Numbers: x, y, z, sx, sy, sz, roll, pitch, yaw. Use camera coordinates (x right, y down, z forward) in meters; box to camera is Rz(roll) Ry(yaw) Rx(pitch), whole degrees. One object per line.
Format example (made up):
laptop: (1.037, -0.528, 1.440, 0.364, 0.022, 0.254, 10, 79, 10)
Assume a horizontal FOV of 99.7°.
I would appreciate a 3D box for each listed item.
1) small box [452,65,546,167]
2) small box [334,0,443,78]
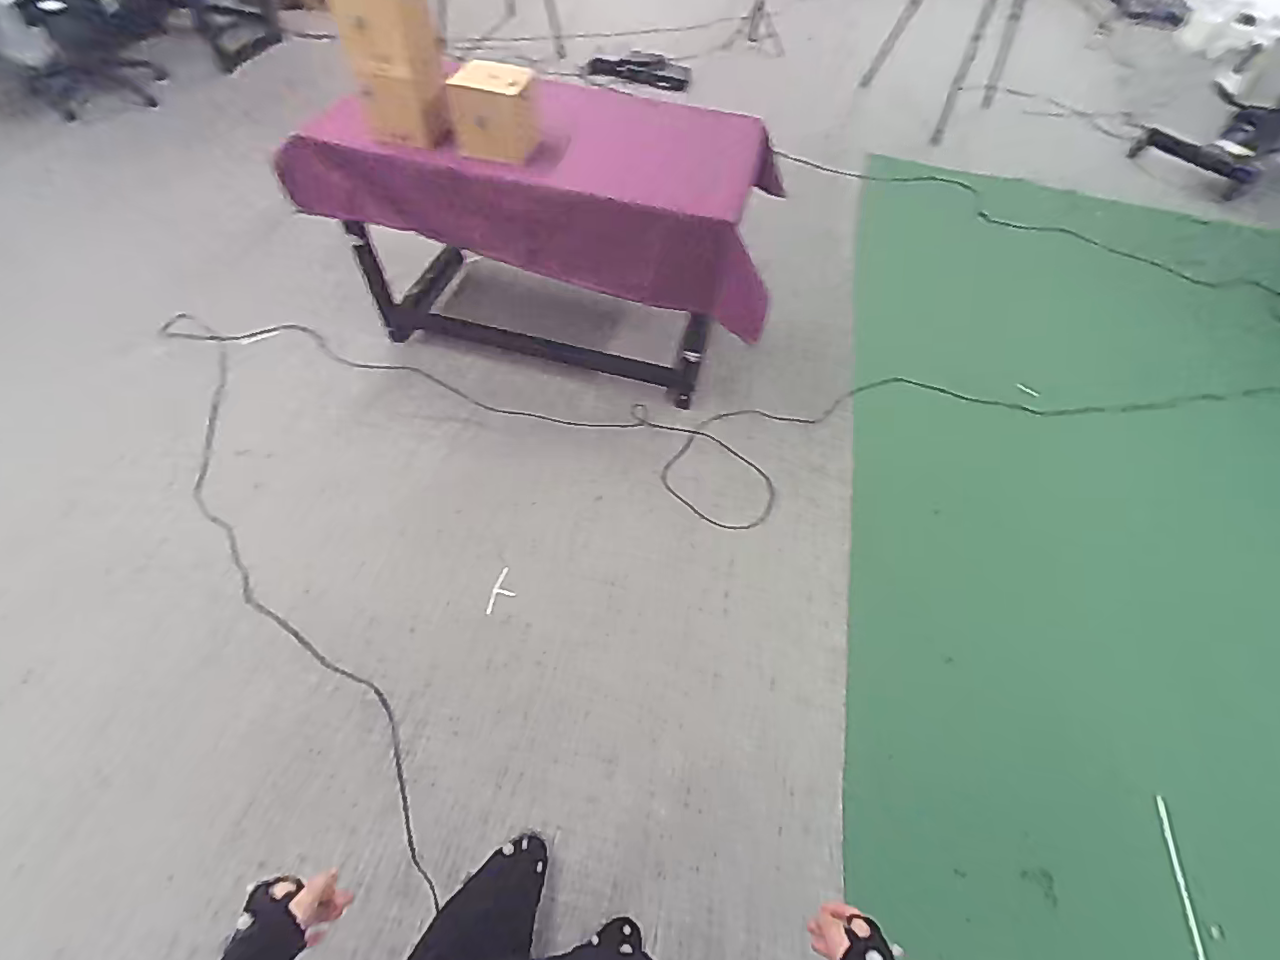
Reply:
small box: (-0.360, -0.953, 1.420, 0.179, 0.176, 0.168, 13, 56, 5)
small box: (-0.601, -1.110, 1.314, 0.168, 0.176, 0.179, 11, 54, 3)
